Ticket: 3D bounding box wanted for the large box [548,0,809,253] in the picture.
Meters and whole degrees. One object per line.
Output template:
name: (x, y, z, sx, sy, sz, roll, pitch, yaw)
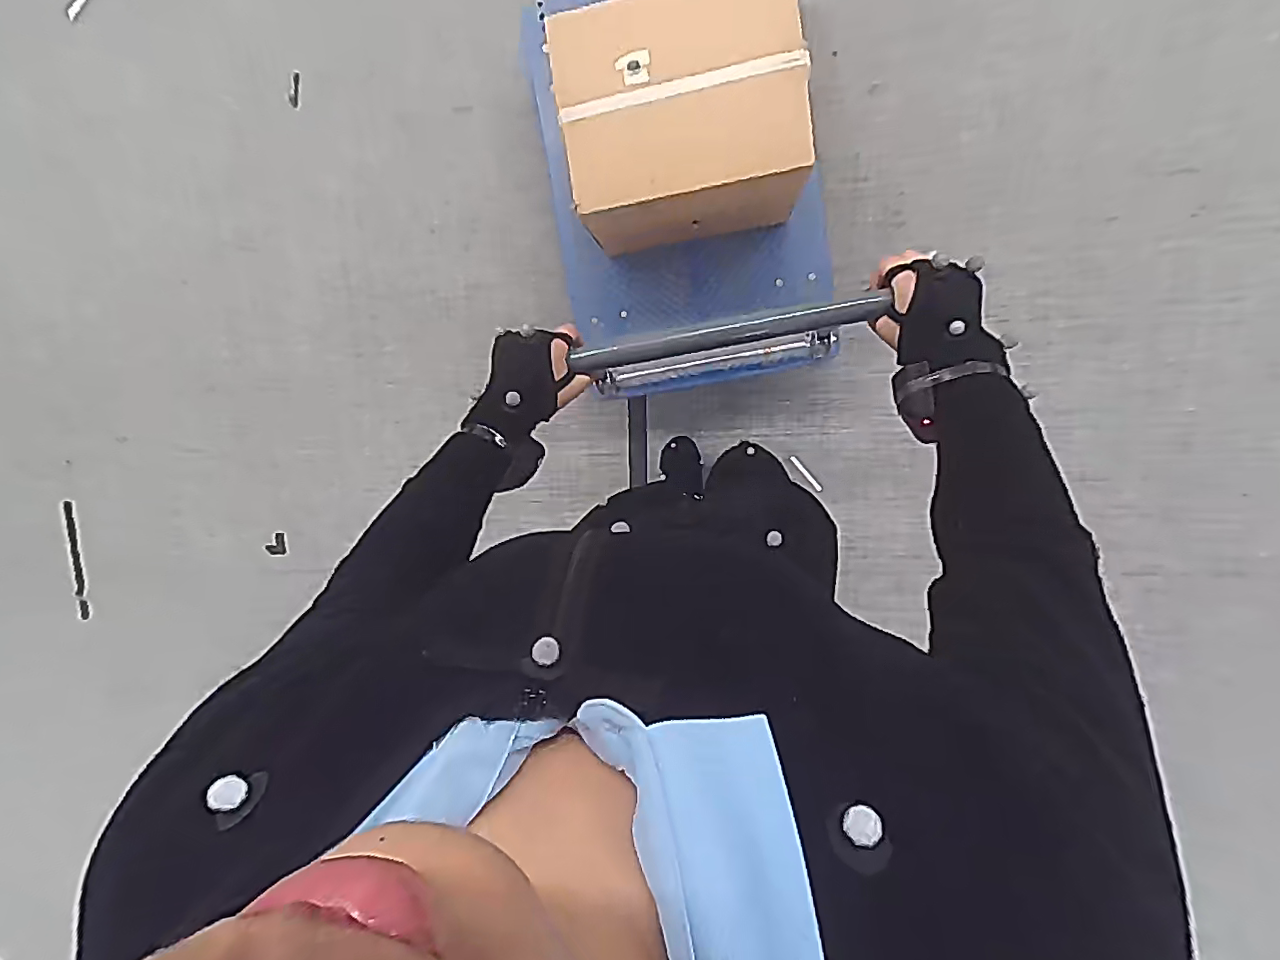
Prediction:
large box: (0.082, -0.667, 1.044, 0.408, 0.320, 0.320, -8, 97, 9)
